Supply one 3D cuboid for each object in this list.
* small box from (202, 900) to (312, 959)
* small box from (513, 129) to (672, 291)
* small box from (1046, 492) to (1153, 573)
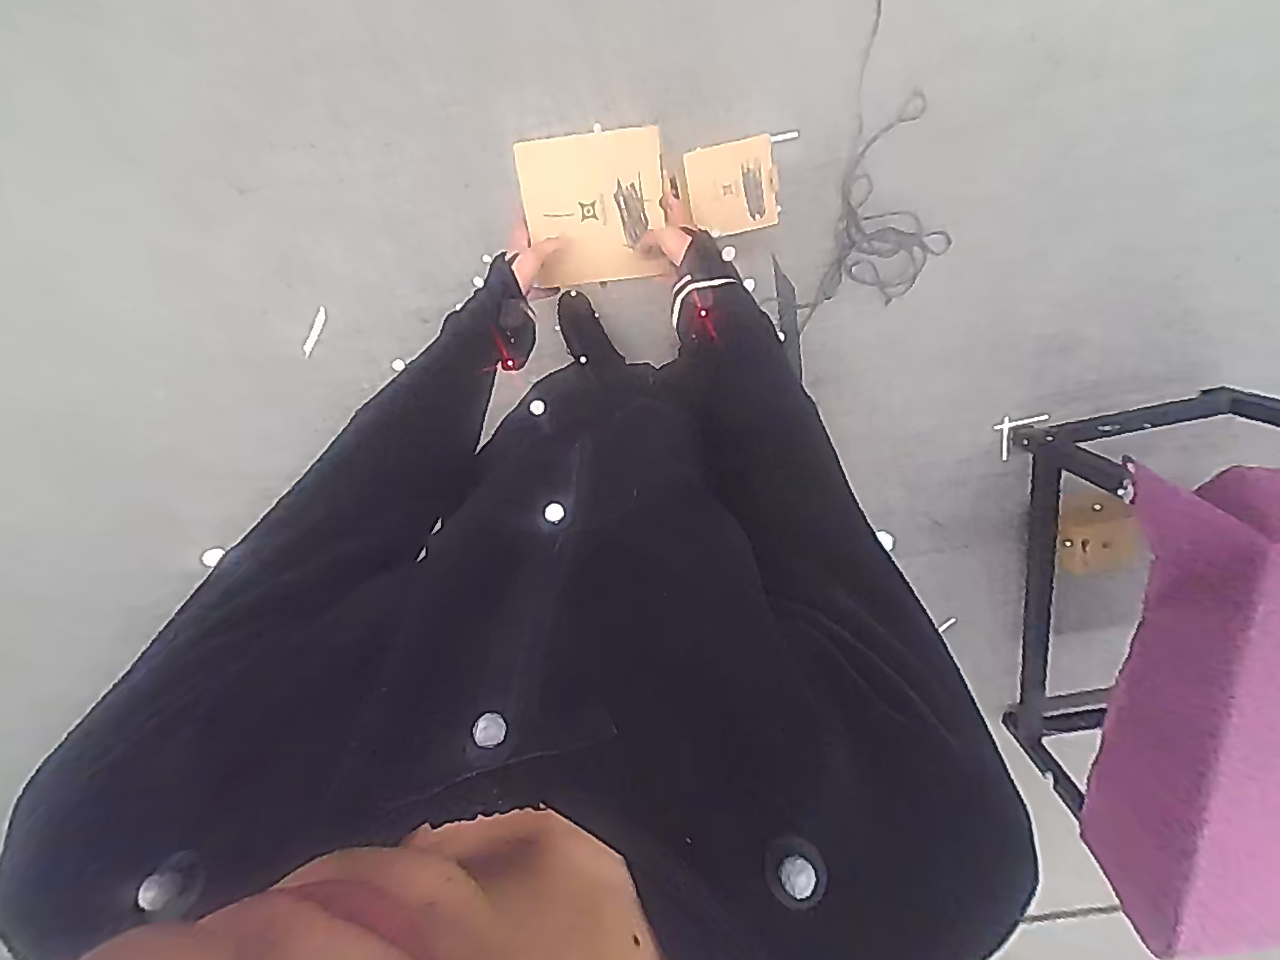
[{"bbox_3d":[-1.097,1.350,1.555,0.179,0.176,0.168,-10,112,7],"label":"small box"},{"bbox_3d":[-0.053,-0.359,0.729,0.179,0.176,0.168,-5,116,5],"label":"small box"},{"bbox_3d":[1.358,0.149,1.608,0.179,0.176,0.168,-13,110,6],"label":"small box"}]
